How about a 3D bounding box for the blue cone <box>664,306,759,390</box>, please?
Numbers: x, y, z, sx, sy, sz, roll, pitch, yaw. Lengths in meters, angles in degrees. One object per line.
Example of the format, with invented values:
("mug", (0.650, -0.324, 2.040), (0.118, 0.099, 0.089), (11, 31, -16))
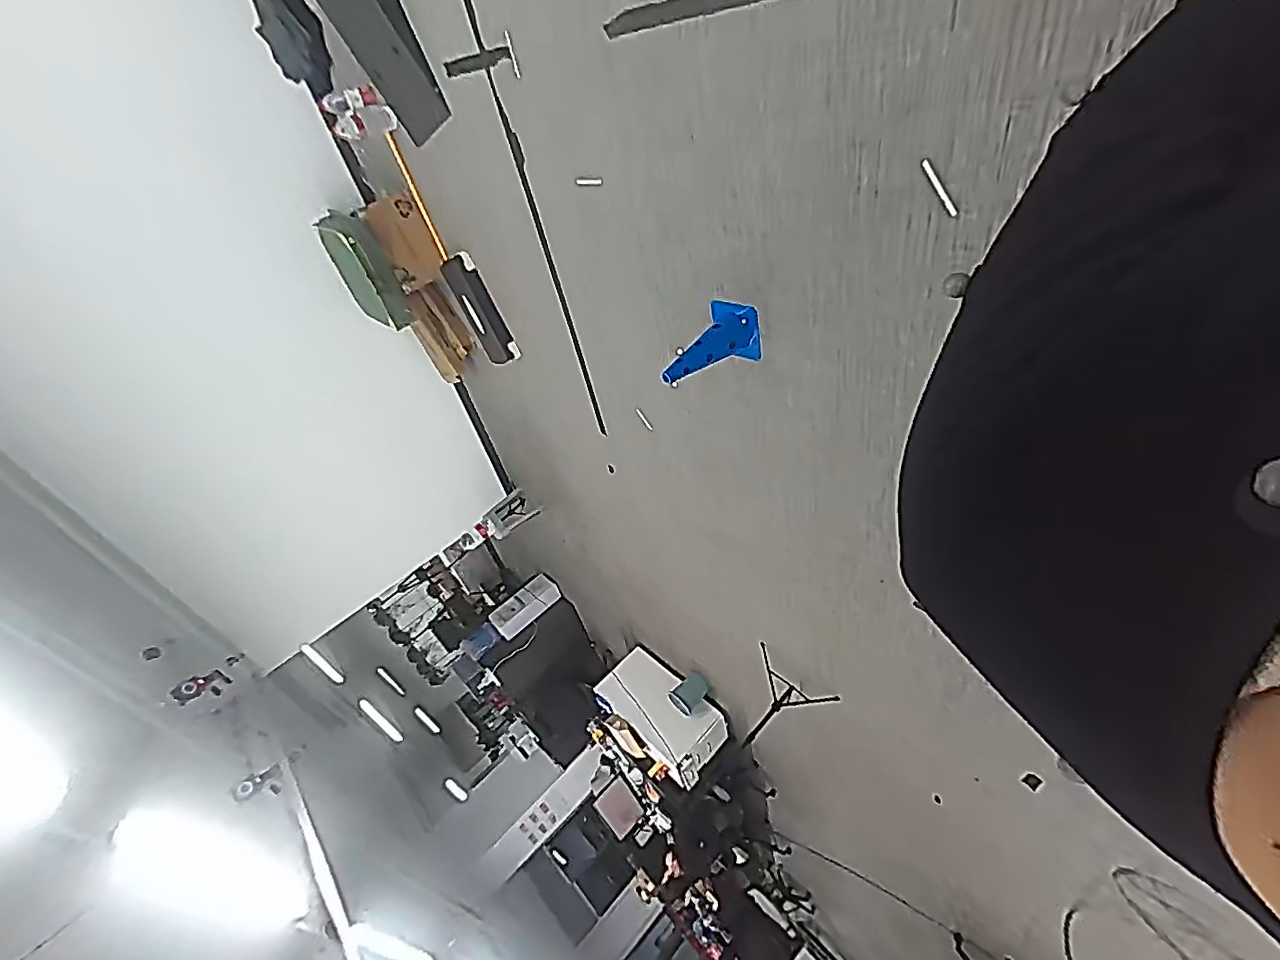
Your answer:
("blue cone", (0.218, -0.420, 1.825), (0.193, 0.380, 0.192), (29, 147, 40))
